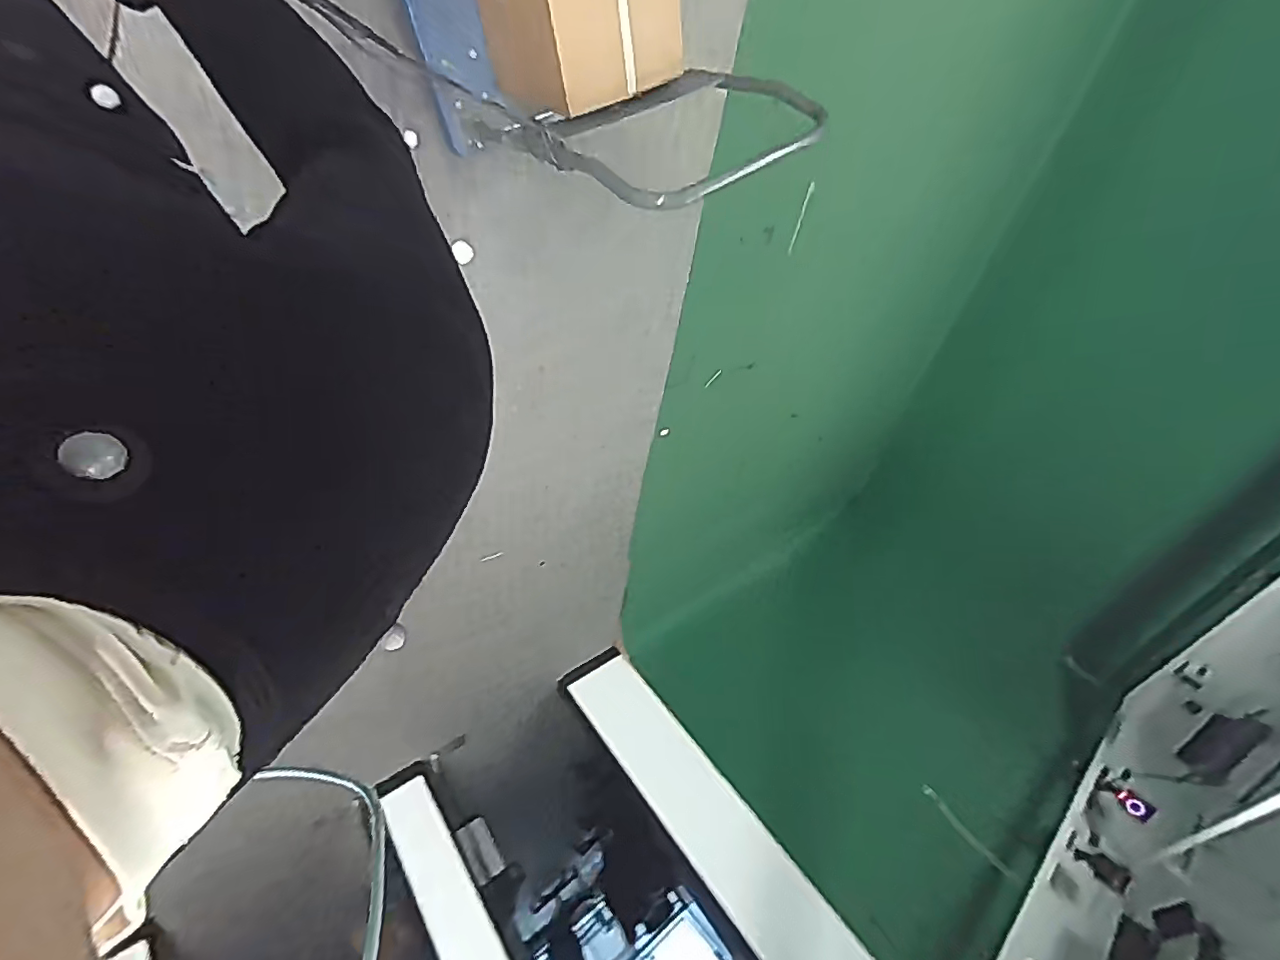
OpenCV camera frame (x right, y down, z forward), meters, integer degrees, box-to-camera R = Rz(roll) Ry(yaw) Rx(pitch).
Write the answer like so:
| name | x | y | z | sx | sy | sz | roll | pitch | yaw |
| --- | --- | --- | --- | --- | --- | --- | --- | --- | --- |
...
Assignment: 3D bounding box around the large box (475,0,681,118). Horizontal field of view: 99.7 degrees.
| name | x | y | z | sx | sy | sz | roll | pitch | yaw |
| --- | --- | --- | --- | --- | --- | --- | --- | --- | --- |
| large box | -0.144 | -1.024 | 1.085 | 0.320 | 0.320 | 0.408 | -34 | 143 | -19 |
